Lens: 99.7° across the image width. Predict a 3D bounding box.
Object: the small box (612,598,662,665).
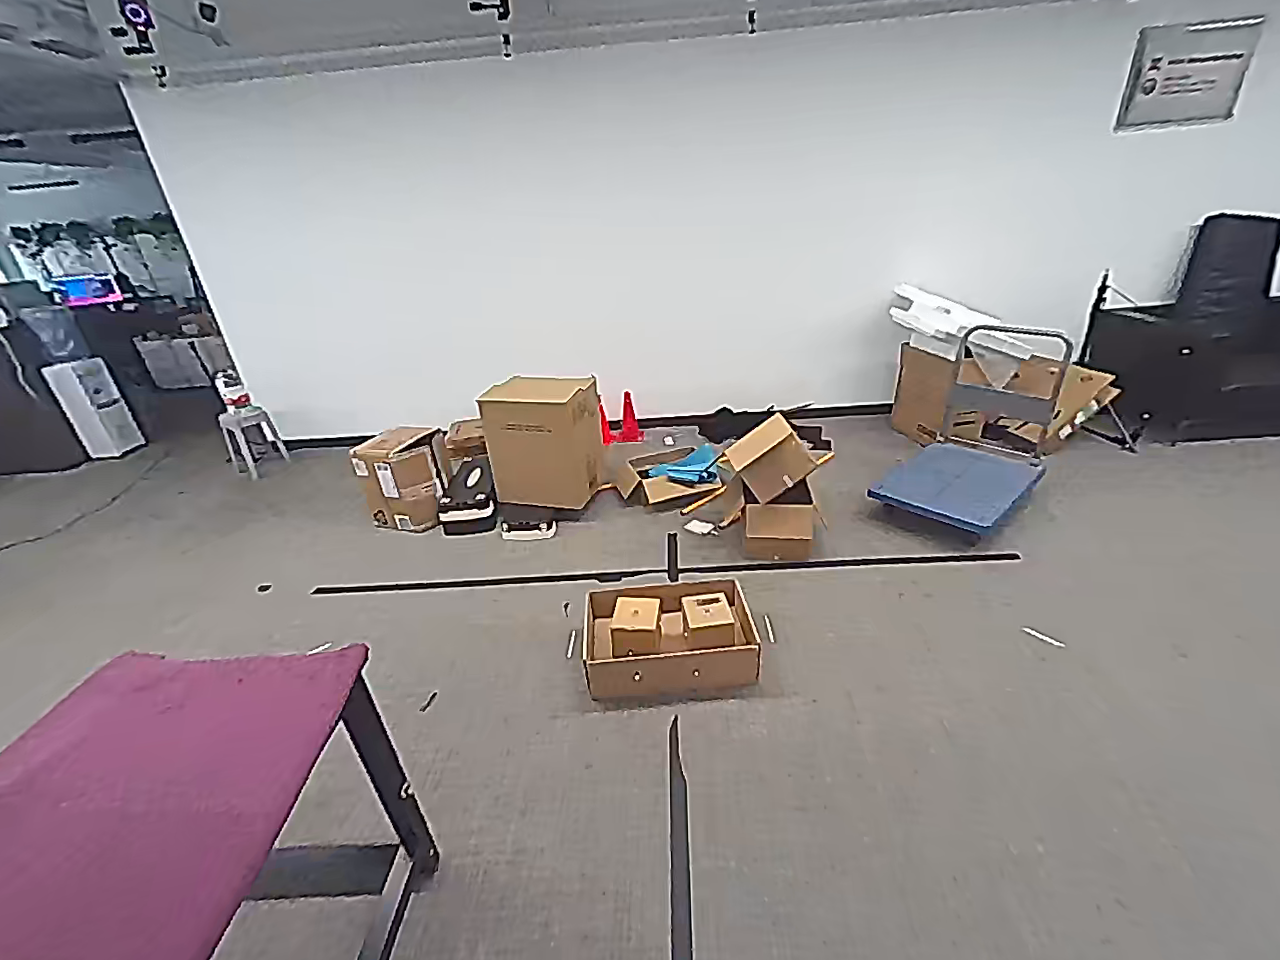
[{"bbox_3d":[-0.007,0.569,2.039,0.168,0.176,0.179,0,26,8],"label":"small box"}]
